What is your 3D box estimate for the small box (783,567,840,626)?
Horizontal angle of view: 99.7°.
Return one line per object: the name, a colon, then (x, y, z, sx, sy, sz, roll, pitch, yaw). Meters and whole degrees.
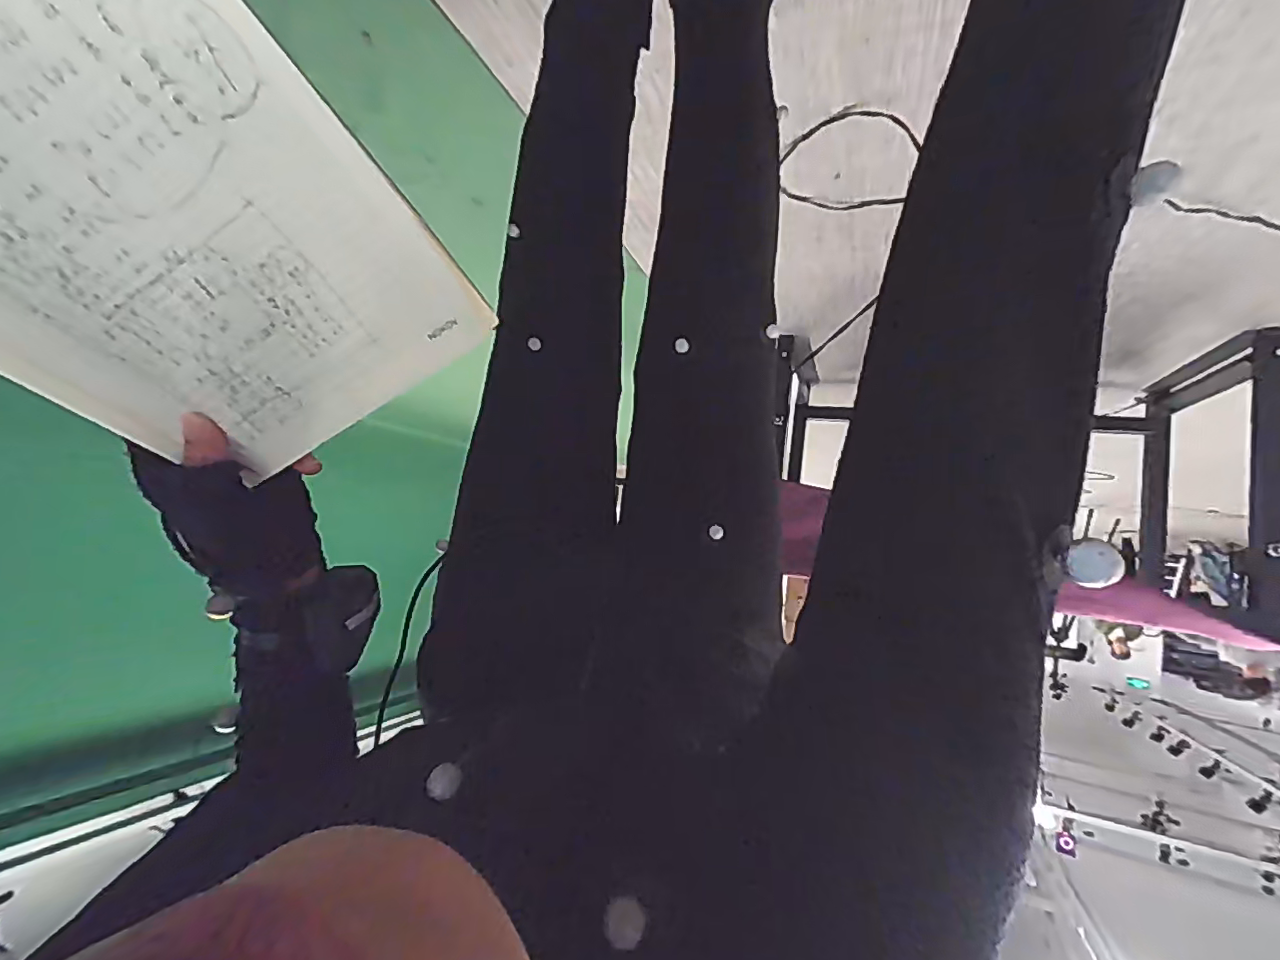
small box: (0.581, 0.388, 1.827, 0.168, 0.176, 0.179, 5, 175, 21)
